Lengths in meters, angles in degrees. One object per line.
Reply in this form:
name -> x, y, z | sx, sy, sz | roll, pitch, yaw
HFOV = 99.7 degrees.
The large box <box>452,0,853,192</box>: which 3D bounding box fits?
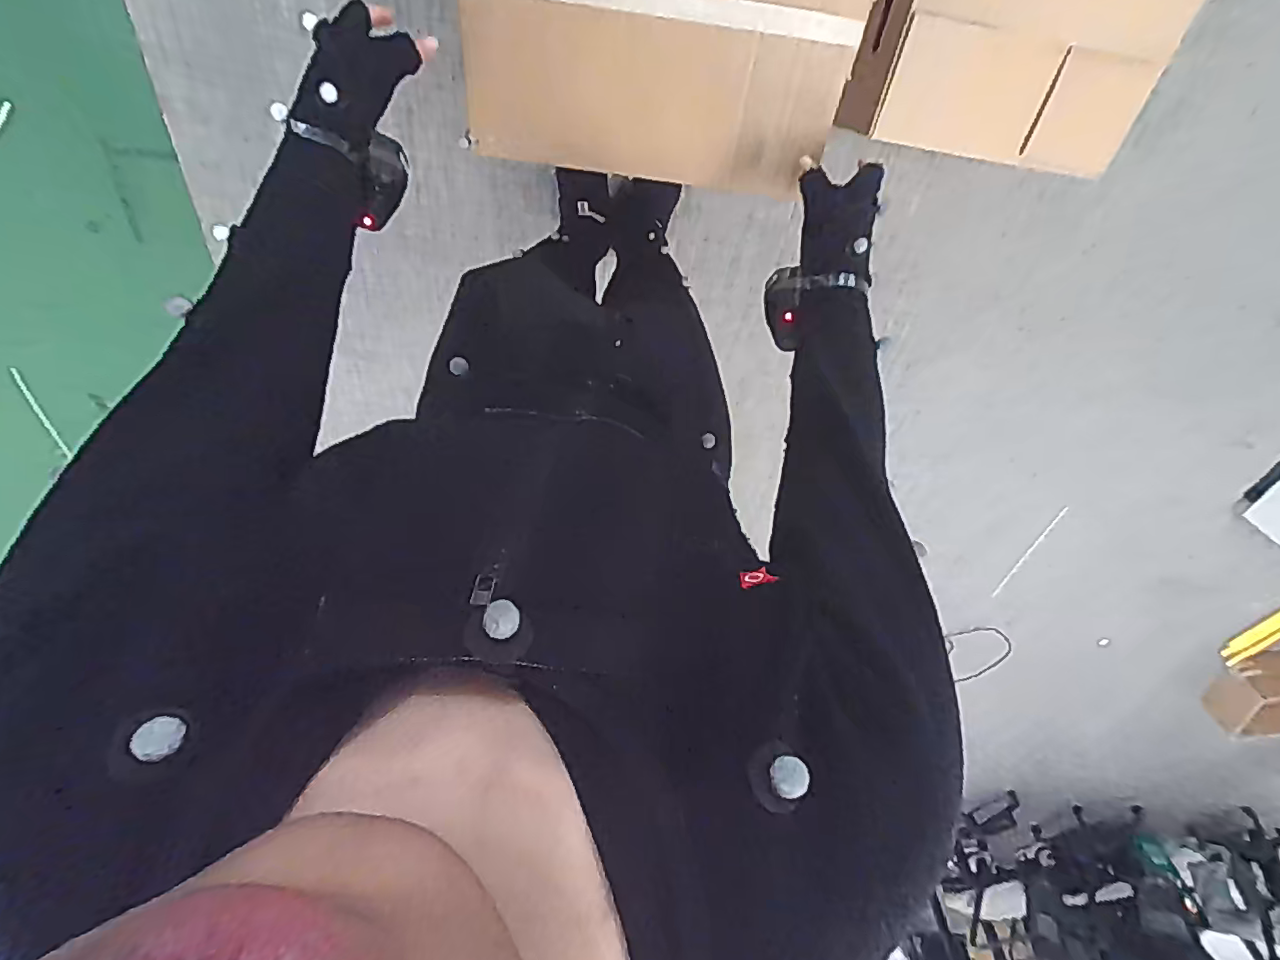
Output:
large box -> 0.016, -0.576, 0.645 | 0.408, 0.320, 0.320 | 6, 131, -4
